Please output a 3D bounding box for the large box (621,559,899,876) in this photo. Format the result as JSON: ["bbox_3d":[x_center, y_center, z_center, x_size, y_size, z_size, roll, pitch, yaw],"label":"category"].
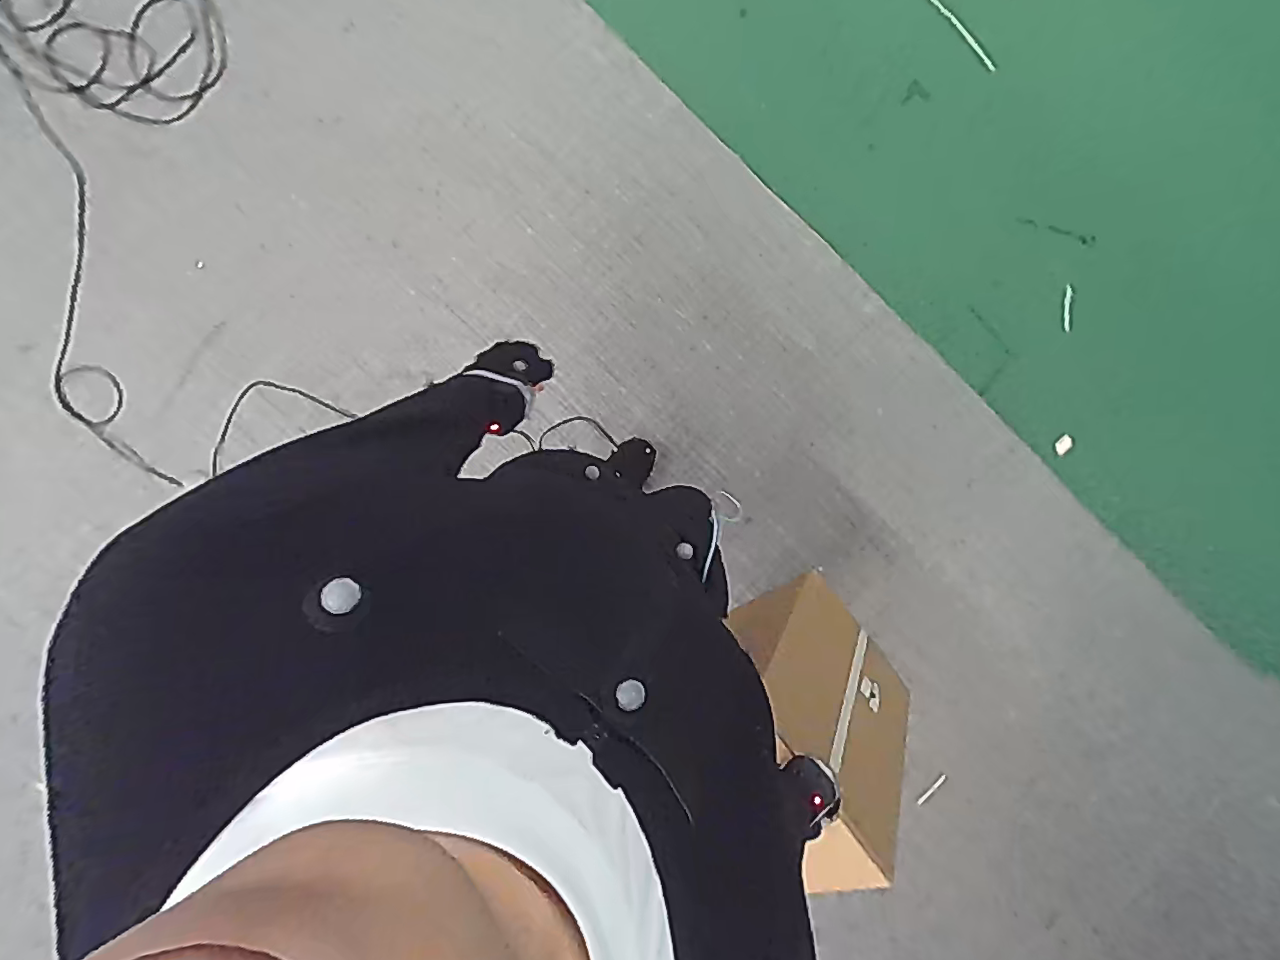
[{"bbox_3d":[0.237,0.420,1.000,0.320,0.408,0.320,-36,89,35],"label":"large box"}]
